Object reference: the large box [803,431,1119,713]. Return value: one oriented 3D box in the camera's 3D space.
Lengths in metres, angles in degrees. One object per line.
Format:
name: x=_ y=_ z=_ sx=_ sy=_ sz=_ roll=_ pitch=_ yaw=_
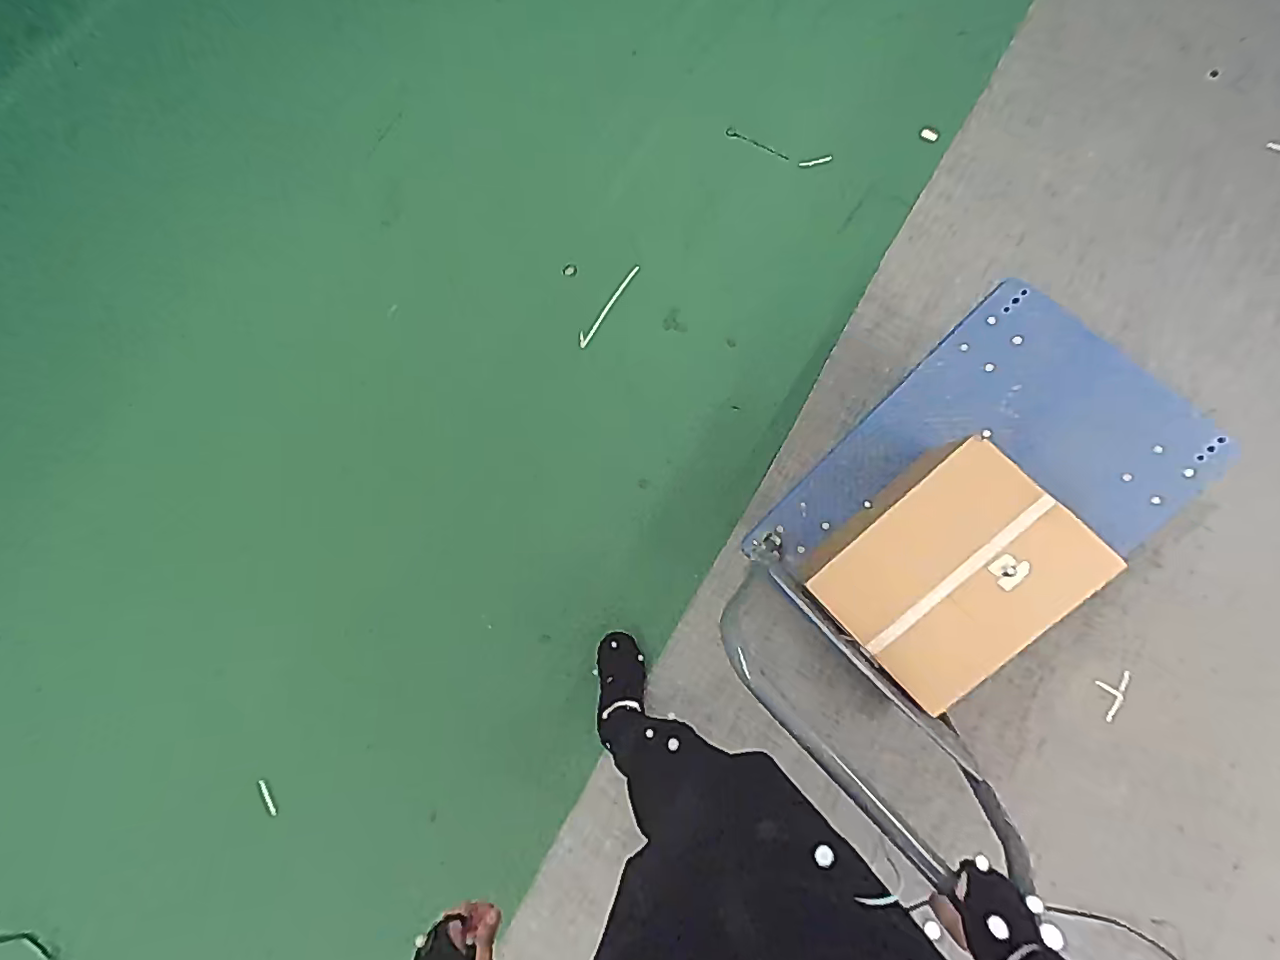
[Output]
large box: x=0.581 y=0.168 z=1.082 sx=0.408 sy=0.320 sz=0.320 roll=-45 pitch=79 yaw=9
